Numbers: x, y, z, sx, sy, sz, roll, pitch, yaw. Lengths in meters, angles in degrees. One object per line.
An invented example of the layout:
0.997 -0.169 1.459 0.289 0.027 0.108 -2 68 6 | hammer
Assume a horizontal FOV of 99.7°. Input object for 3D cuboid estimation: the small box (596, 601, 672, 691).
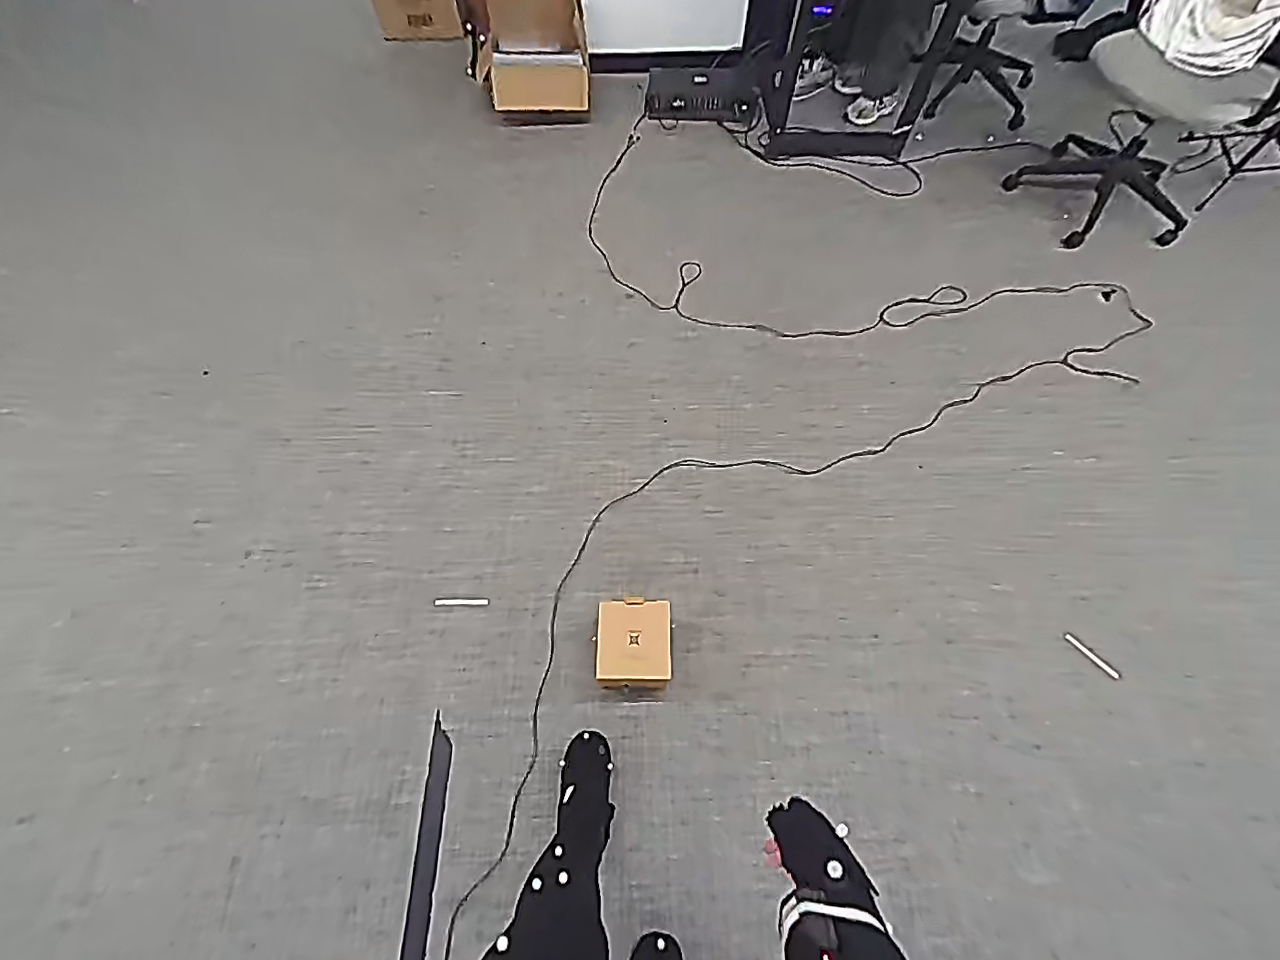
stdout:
-0.012 0.397 1.281 0.168 0.176 0.179 1 64 1 | small box
